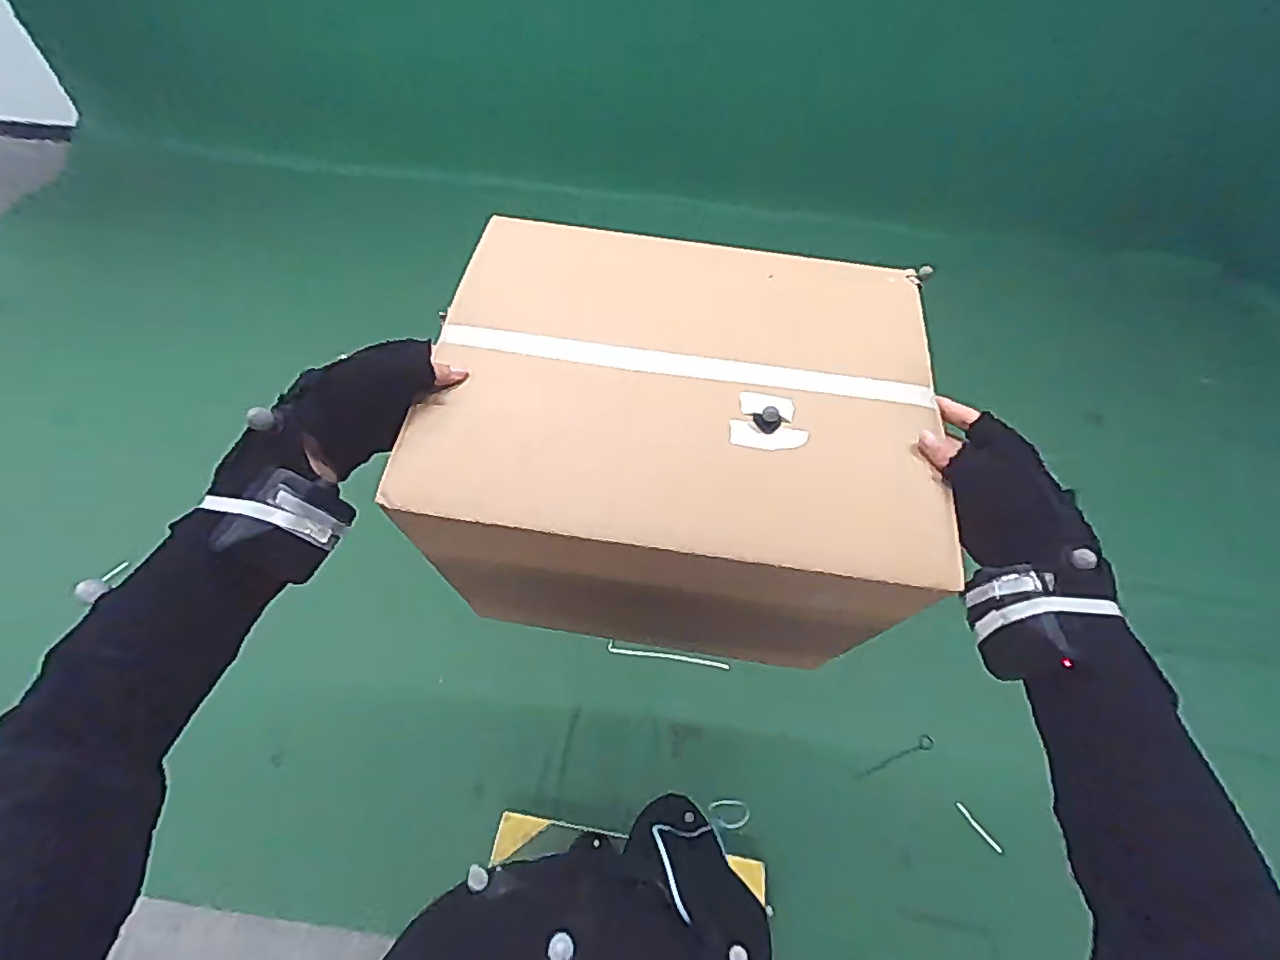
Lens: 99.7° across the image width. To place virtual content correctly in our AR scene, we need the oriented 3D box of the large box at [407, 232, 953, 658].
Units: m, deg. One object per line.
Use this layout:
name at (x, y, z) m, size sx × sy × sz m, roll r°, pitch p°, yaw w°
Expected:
large box at (0.035, -0.016, 0.585) m, size 0.408 × 0.320 × 0.320 m, roll 8°, pitch 62°, yaw 1°
